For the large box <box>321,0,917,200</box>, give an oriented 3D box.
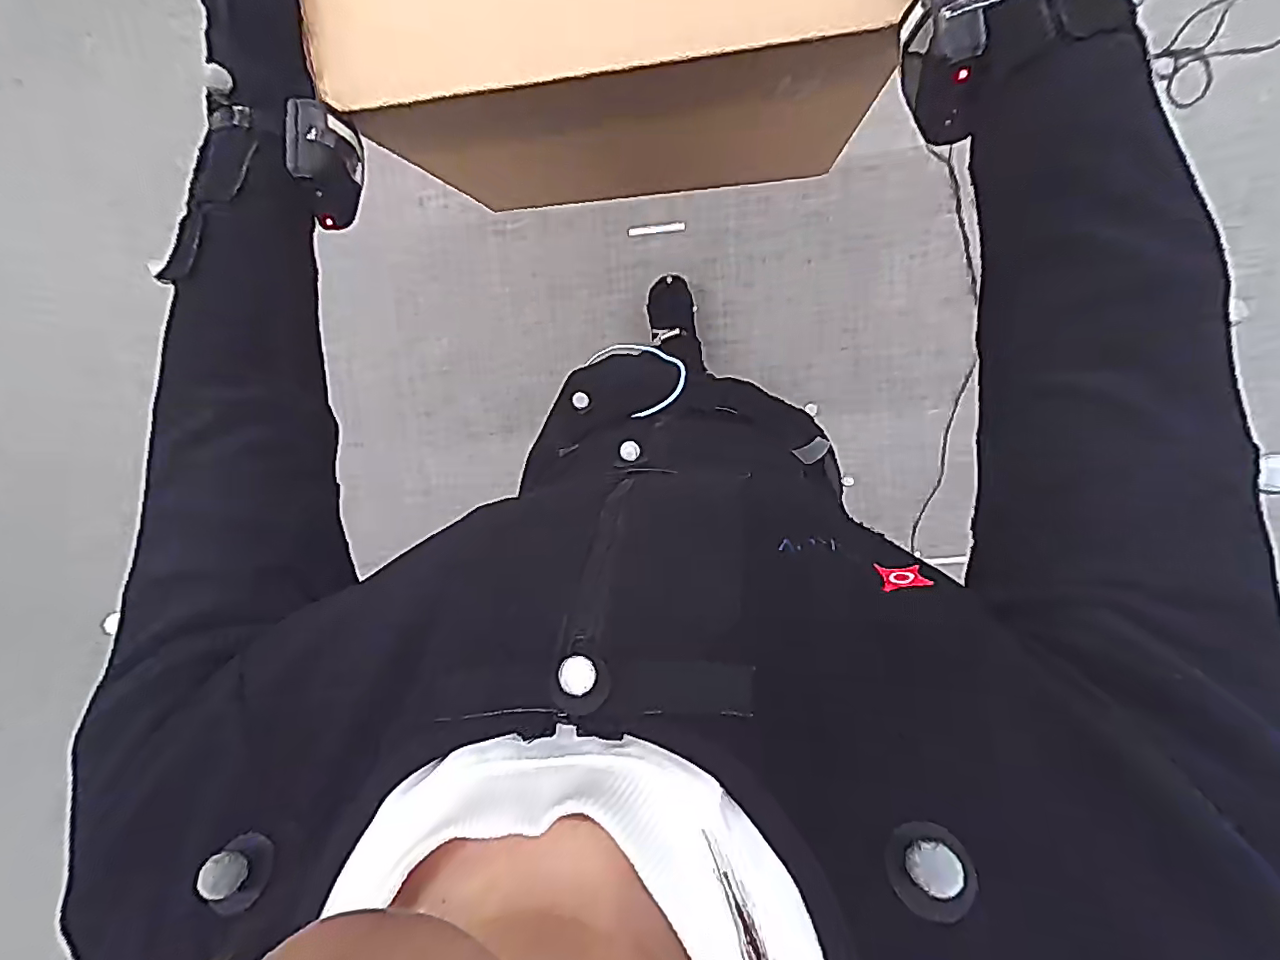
[{"bbox_3d":[-0.015,-0.468,0.467,0.408,0.320,0.320,-3,105,8],"label":"large box"}]
